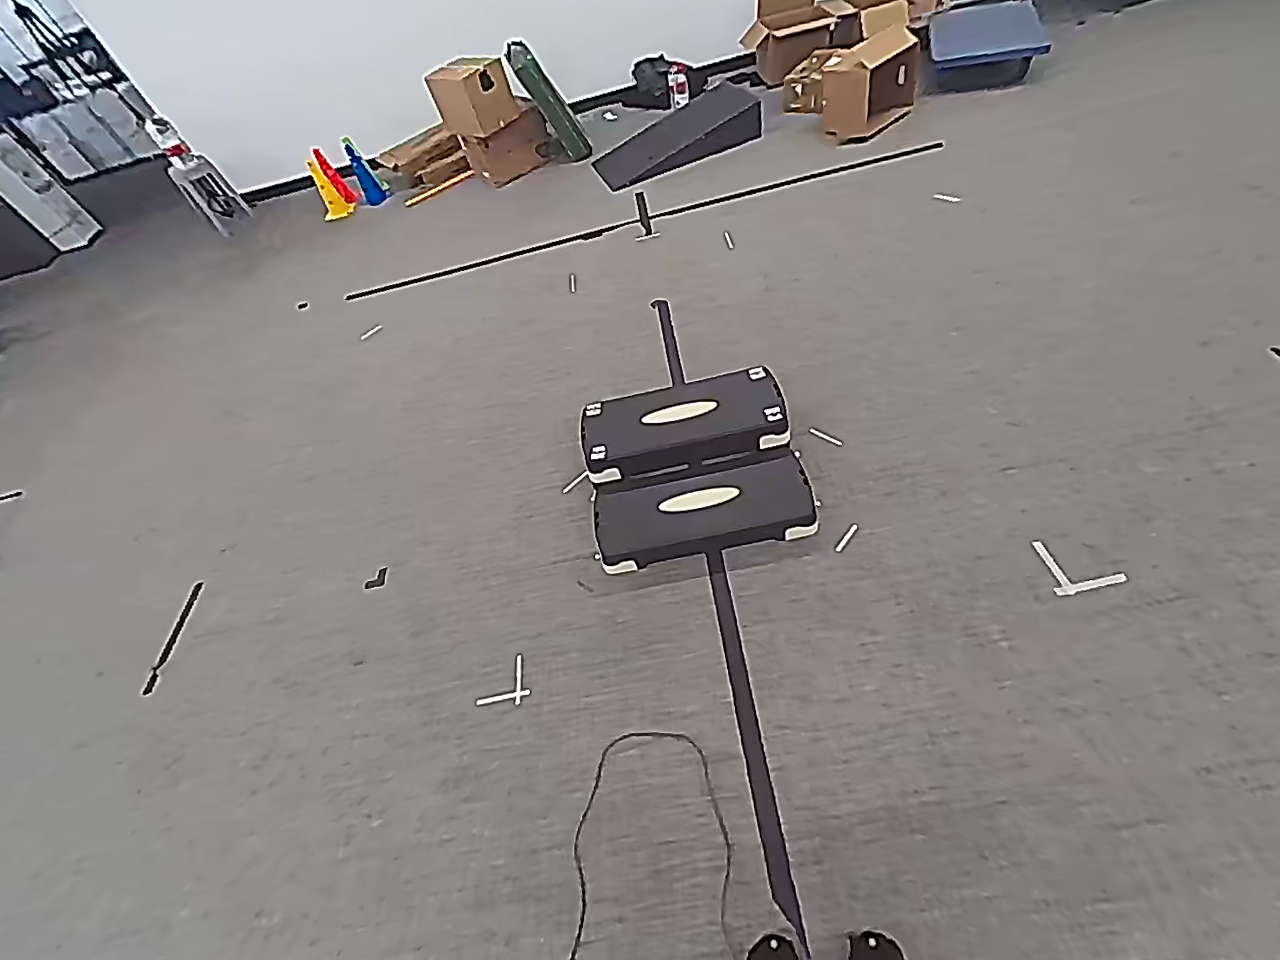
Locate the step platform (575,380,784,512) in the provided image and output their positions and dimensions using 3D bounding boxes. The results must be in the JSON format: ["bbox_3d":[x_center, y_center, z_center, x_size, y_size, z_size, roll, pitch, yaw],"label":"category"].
[{"bbox_3d":[0.126,-0.119,1.819,0.684,0.204,0.286,-12,51,3],"label":"step platform"}]
